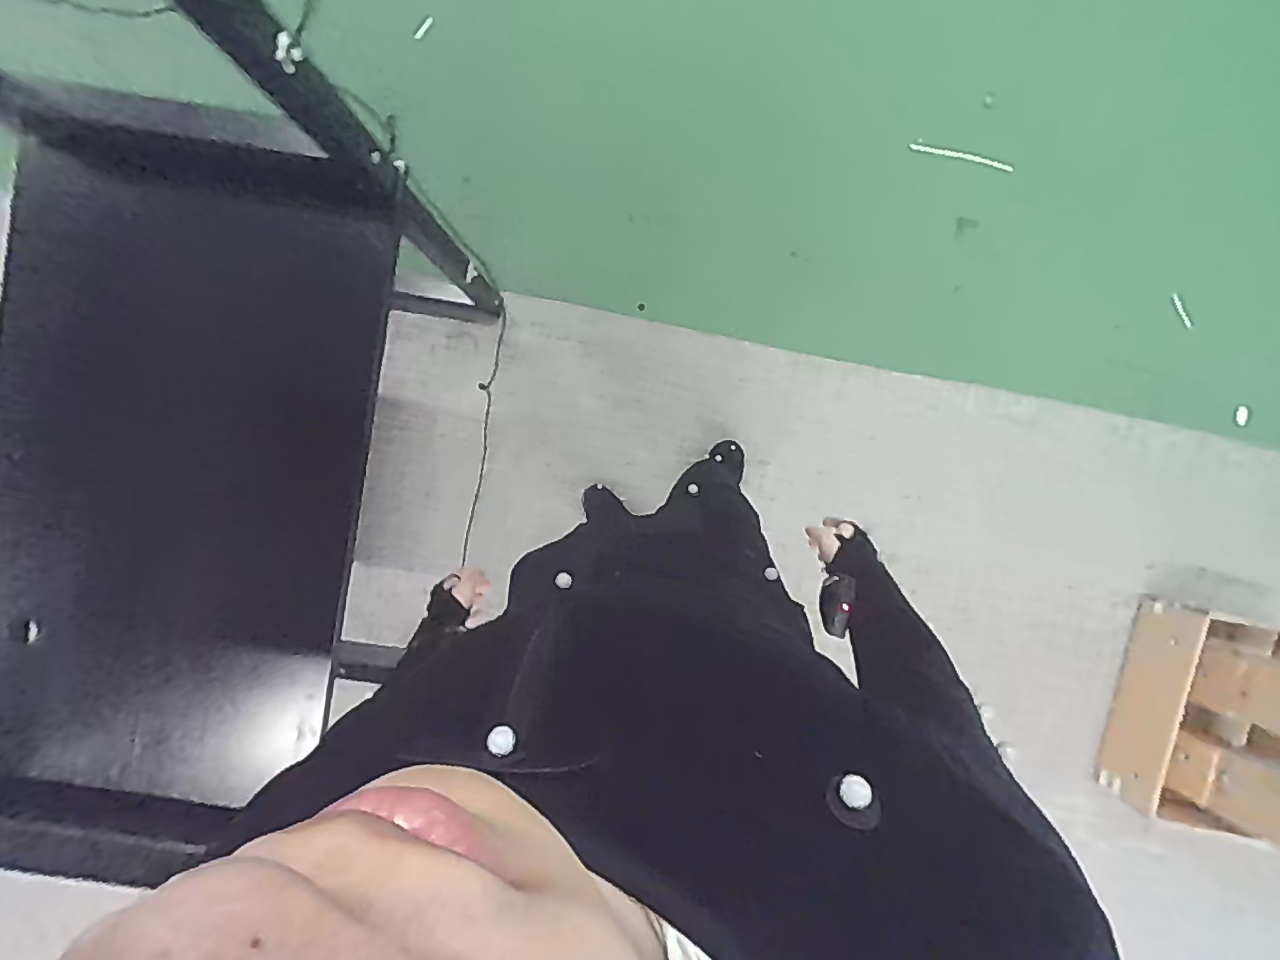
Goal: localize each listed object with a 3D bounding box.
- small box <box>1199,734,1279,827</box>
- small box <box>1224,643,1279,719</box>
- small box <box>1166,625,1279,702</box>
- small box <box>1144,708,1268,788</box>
[{"bbox_3d":[1.659,0.799,1.425,0.179,0.176,0.168,13,91,-2],"label":"small box"},{"bbox_3d":[1.712,0.544,1.408,0.179,0.176,0.168,16,92,-3],"label":"small box"},{"bbox_3d":[1.705,0.537,1.573,0.179,0.176,0.168,10,95,-2],"label":"small box"},{"bbox_3d":[1.650,0.793,1.588,0.179,0.176,0.168,11,92,-2],"label":"small box"}]
